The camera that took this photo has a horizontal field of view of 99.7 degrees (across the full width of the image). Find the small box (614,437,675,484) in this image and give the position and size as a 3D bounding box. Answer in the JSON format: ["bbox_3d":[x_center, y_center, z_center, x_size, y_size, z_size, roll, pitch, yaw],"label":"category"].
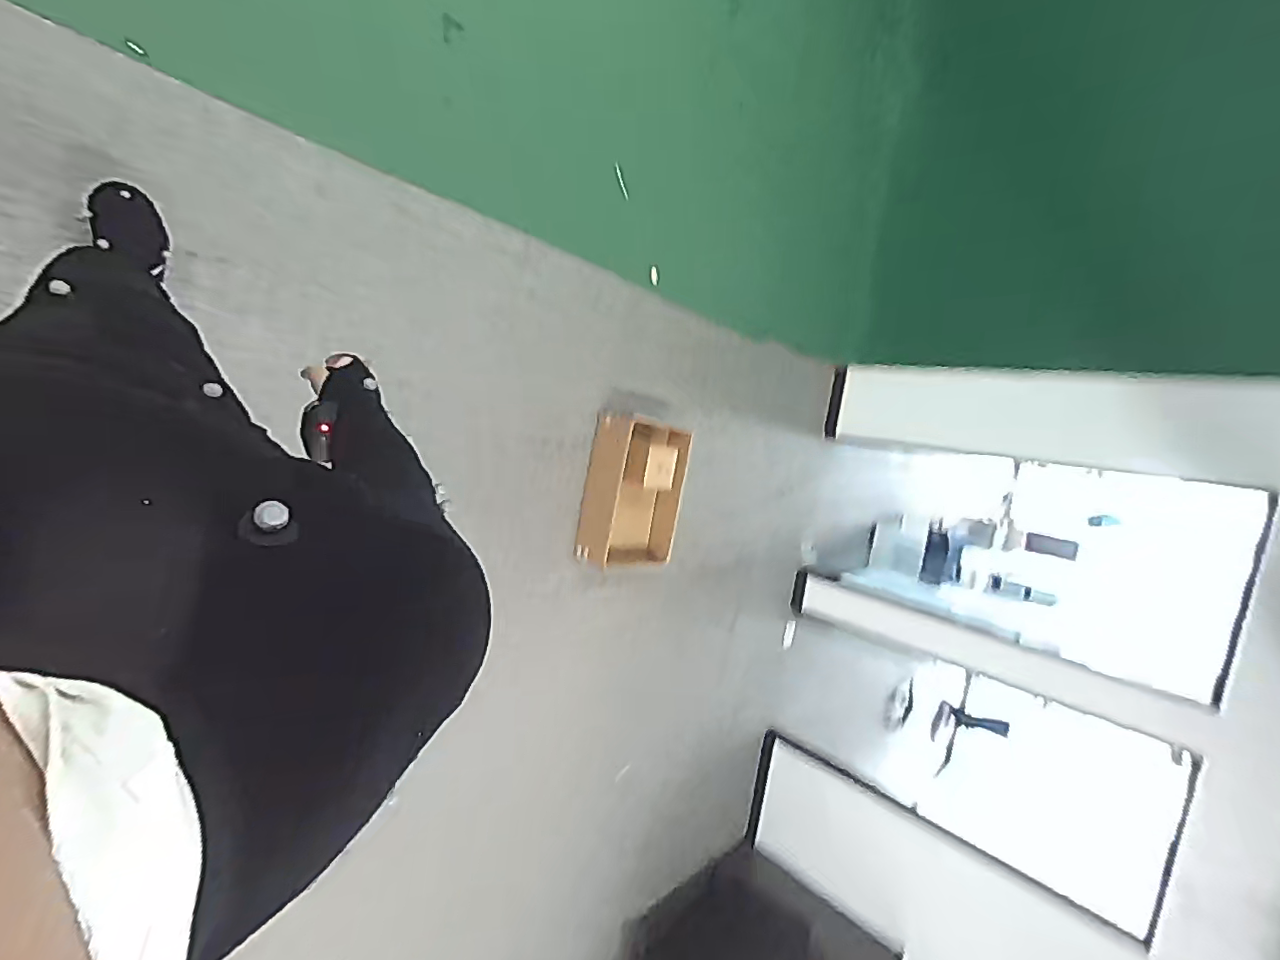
[{"bbox_3d":[0.015,-0.082,2.241,0.179,0.176,0.168,4,99,-47],"label":"small box"}]
